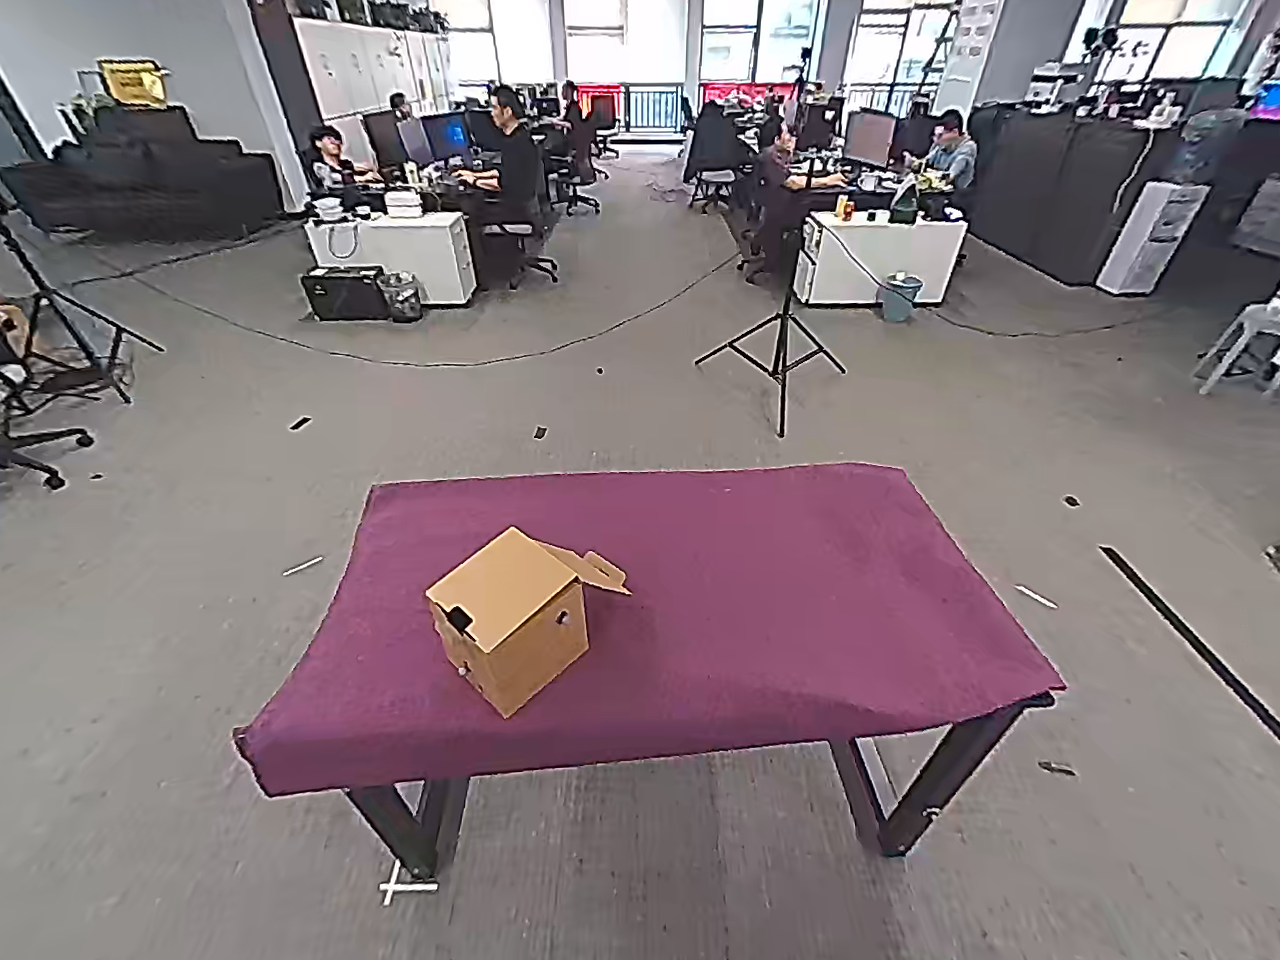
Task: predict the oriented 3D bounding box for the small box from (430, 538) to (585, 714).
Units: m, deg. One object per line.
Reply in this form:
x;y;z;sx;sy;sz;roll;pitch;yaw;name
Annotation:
-0.204;0.231;0.873;0.168;0.176;0.179;28;45;34;small box
